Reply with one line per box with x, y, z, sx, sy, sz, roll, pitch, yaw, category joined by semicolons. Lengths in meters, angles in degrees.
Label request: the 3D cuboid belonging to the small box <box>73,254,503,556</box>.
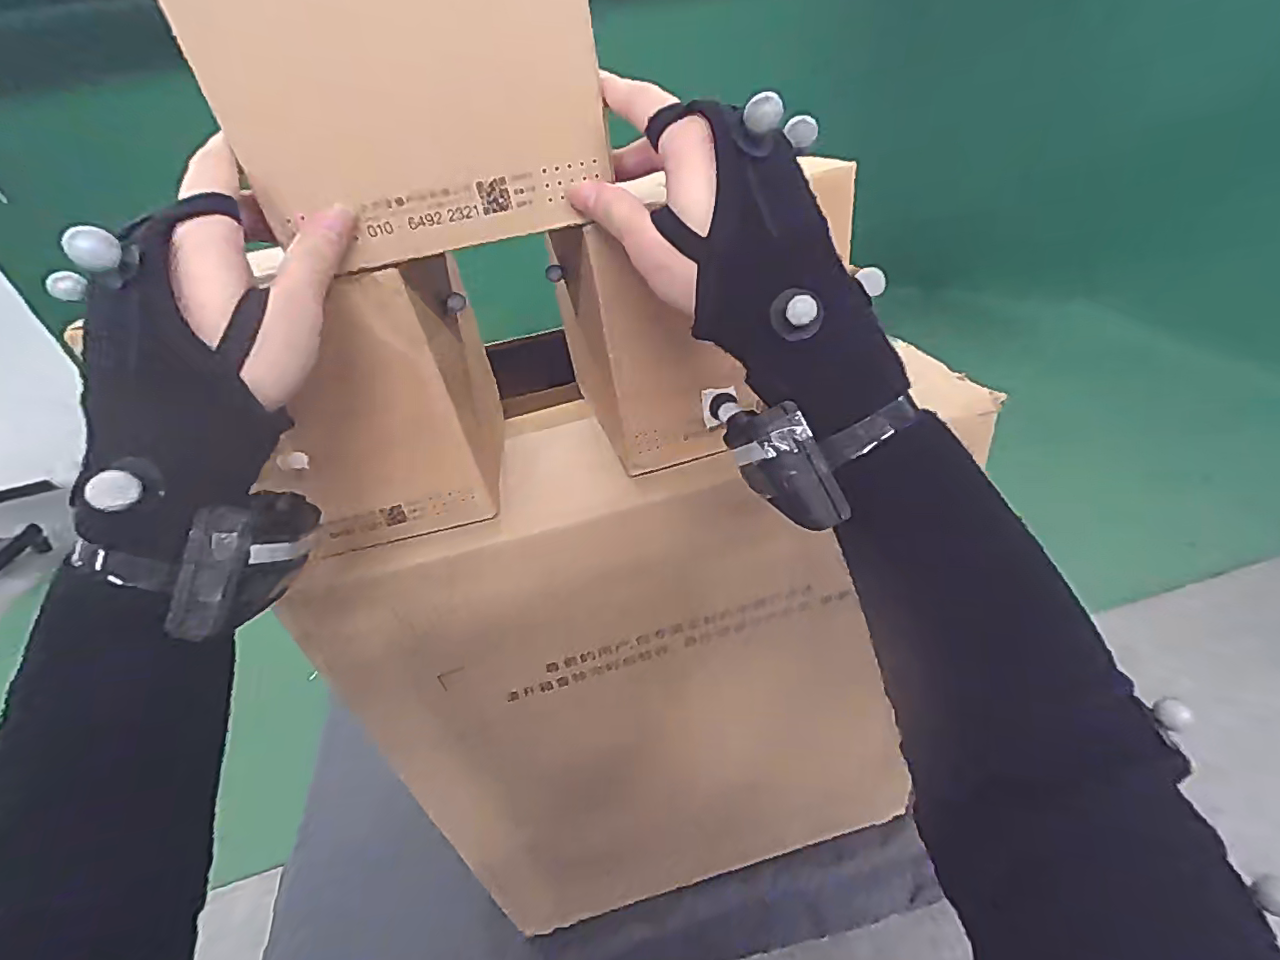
-0.204;-0.064;0.385;0.168;0.176;0.179;-13;34;-2;small box

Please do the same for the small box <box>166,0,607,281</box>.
-0.124;-0.221;0.300;0.168;0.176;0.179;-15;34;-6;small box

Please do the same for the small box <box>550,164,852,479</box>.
0.033;-0.127;0.411;0.168;0.176;0.179;-18;36;-9;small box
